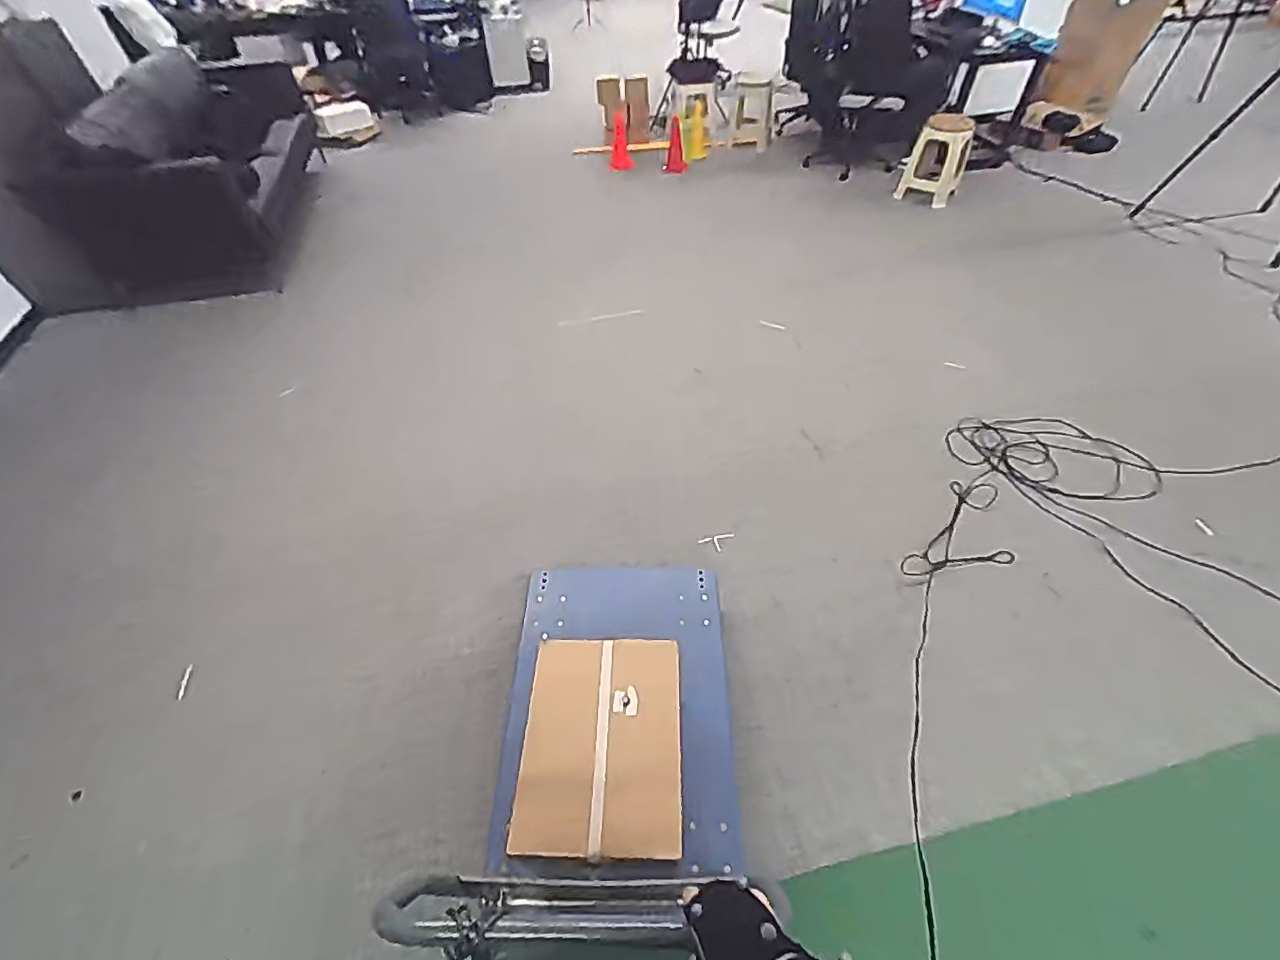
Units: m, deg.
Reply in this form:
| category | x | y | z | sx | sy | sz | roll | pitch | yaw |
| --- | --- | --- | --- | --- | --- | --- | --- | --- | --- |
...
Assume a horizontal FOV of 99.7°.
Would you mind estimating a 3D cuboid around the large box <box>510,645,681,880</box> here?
| category | x | y | z | sx | sy | sz | roll | pitch | yaw |
| --- | --- | --- | --- | --- | --- | --- | --- | --- | --- |
| large box | -0.074 | 0.623 | 1.196 | 0.320 | 0.320 | 0.408 | 1 | 48 | 2 |
